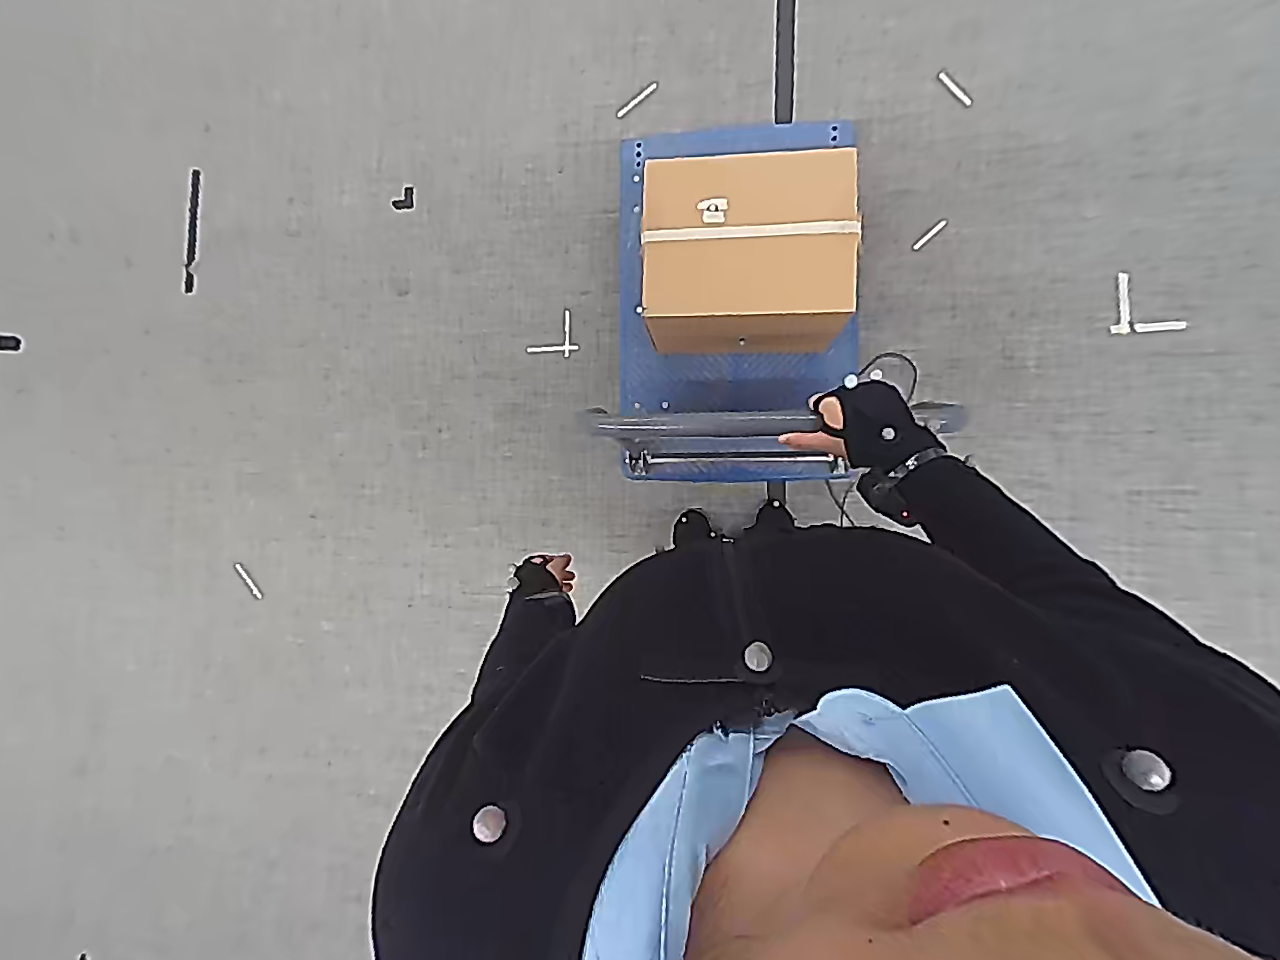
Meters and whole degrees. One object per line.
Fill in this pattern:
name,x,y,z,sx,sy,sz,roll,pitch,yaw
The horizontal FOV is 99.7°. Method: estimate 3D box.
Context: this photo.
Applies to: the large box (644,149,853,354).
large box,0.230,-0.473,1.200,0.408,0.320,0.320,0,88,9
